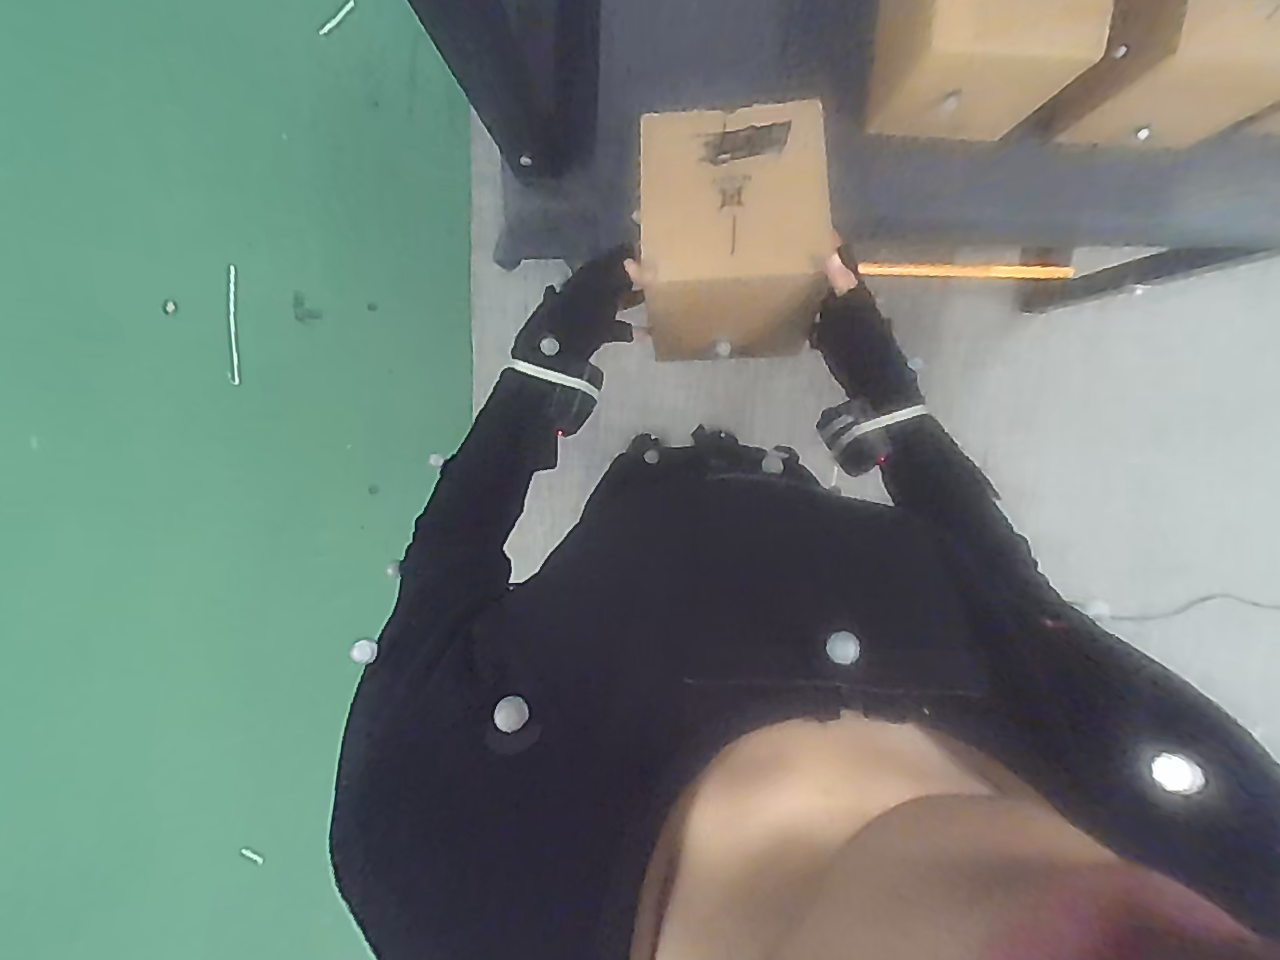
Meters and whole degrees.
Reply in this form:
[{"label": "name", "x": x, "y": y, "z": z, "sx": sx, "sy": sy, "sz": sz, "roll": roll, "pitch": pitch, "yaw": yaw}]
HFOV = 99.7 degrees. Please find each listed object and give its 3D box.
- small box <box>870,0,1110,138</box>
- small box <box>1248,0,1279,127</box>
[{"label": "small box", "x": 0.367, "y": -0.502, "z": 0.586, "sx": 0.168, "sy": 0.176, "sz": 0.179, "roll": 5, "pitch": 97, "yaw": 2}, {"label": "small box", "x": 0.819, "y": -0.492, "z": 0.567, "sx": 0.168, "sy": 0.176, "sz": 0.179, "roll": 6, "pitch": 97, "yaw": 1}]
